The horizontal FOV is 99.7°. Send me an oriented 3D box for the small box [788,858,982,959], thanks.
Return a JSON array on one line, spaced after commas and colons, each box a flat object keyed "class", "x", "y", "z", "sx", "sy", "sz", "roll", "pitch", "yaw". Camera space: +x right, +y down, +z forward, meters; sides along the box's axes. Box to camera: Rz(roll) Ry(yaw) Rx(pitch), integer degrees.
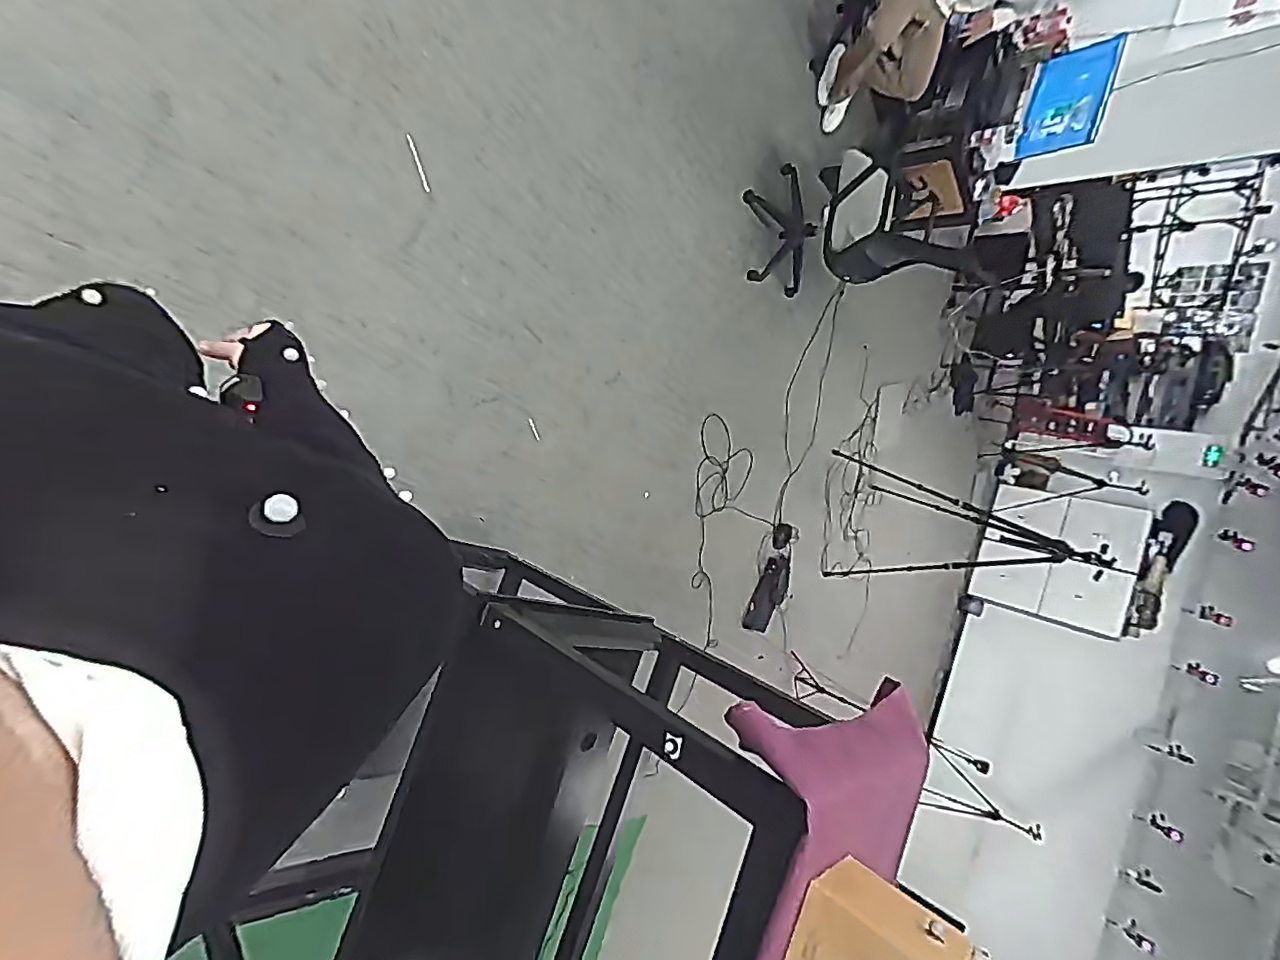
[{"class": "small box", "x": 0.284, "y": 0.597, "z": 0.646, "sx": 0.179, "sy": 0.176, "sz": 0.168, "roll": 30, "pitch": 79, "yaw": -49}]
